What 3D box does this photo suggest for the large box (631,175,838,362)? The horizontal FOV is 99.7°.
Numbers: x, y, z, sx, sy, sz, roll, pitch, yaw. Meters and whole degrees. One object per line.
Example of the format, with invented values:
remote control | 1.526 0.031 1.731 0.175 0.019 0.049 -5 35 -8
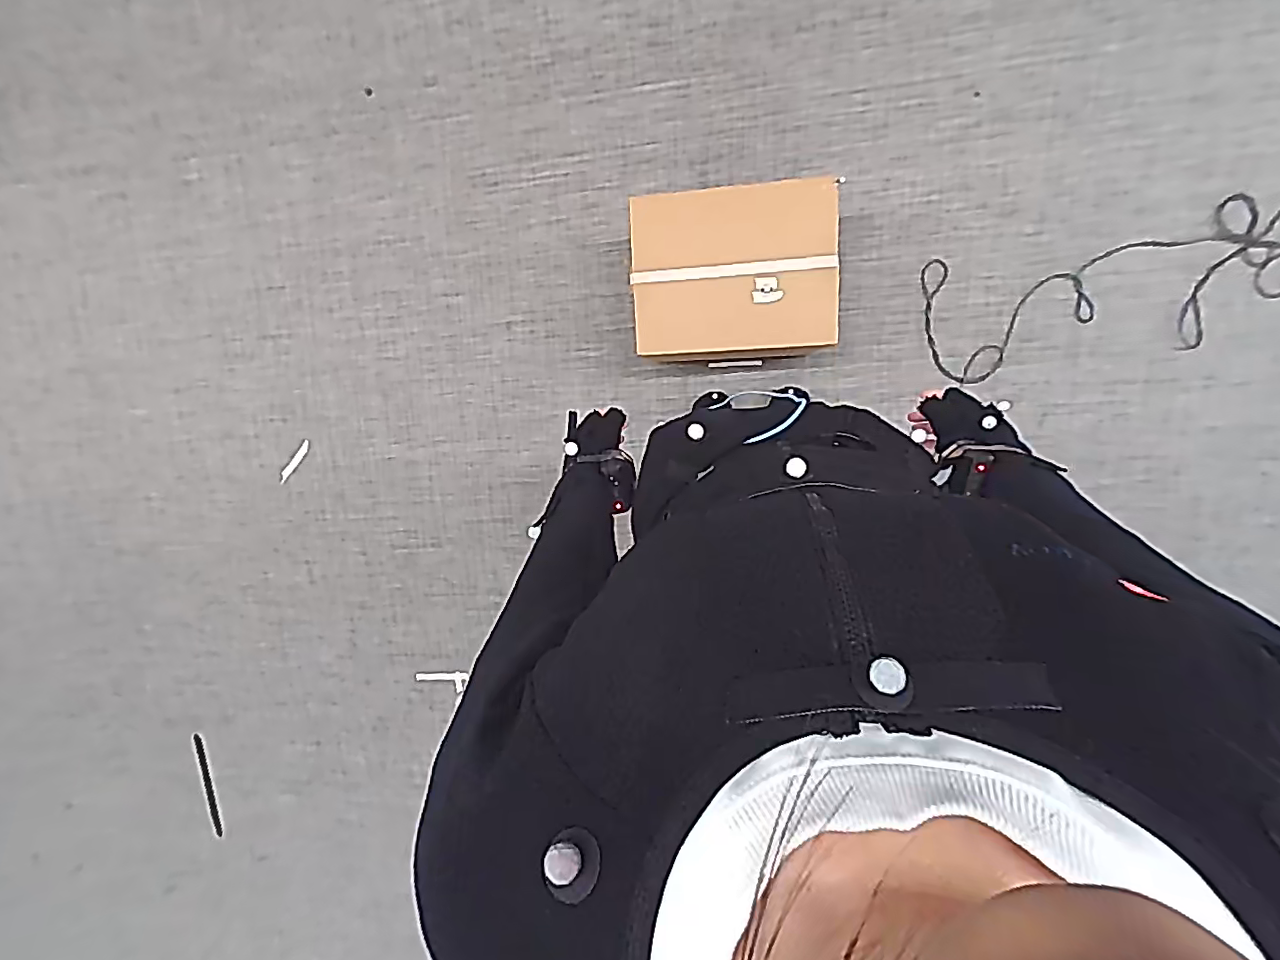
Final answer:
large box | 0.206 -0.446 1.223 0.408 0.320 0.320 -2 100 8
